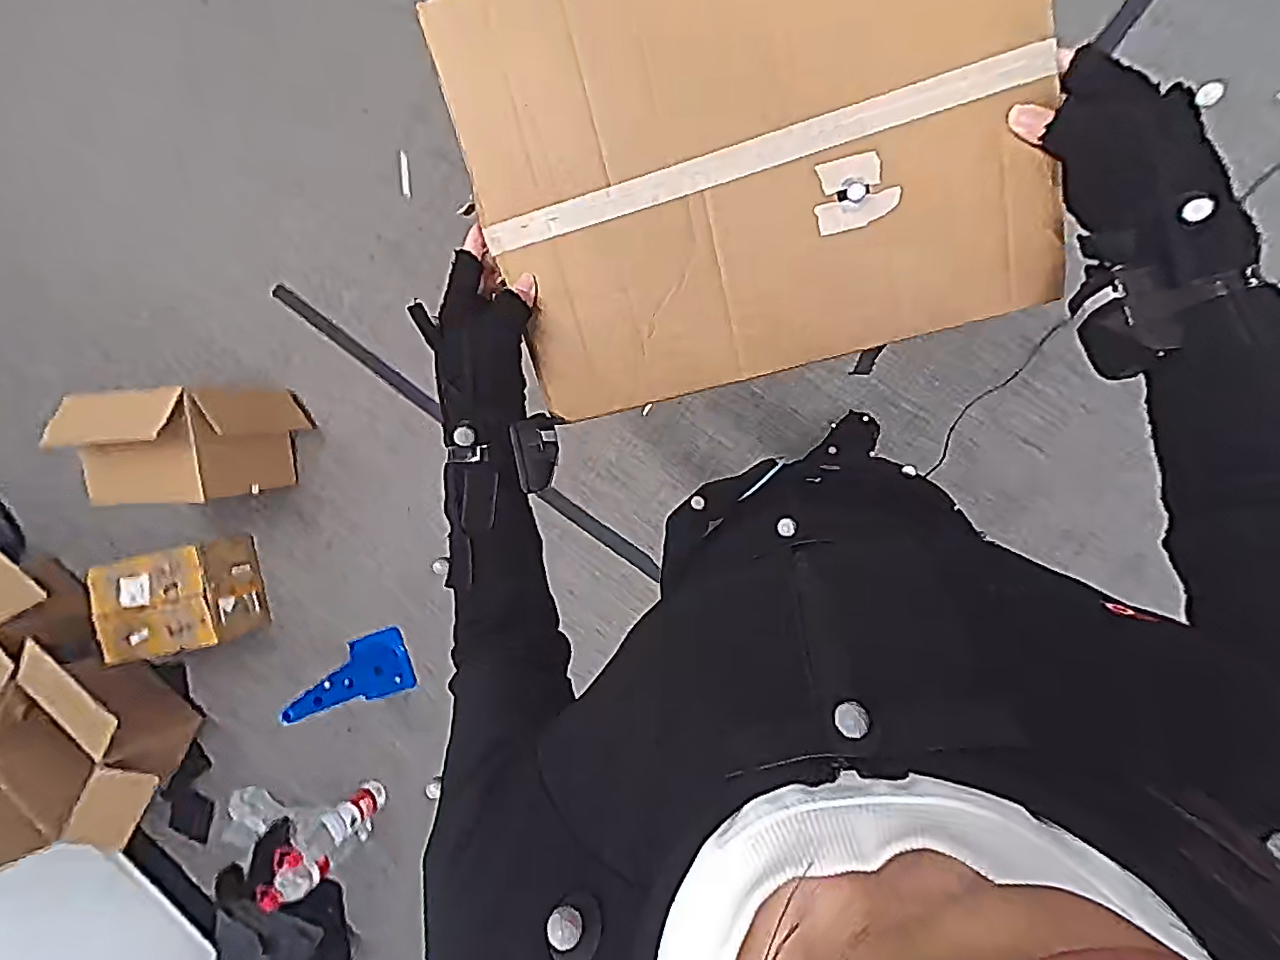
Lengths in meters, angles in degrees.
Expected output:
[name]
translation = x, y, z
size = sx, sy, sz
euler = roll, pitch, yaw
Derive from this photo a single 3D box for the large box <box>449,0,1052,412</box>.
[large box]
translation = 0.098, -0.290, 0.545
size = 0.408, 0.320, 0.320
euler = -13, 108, 10
